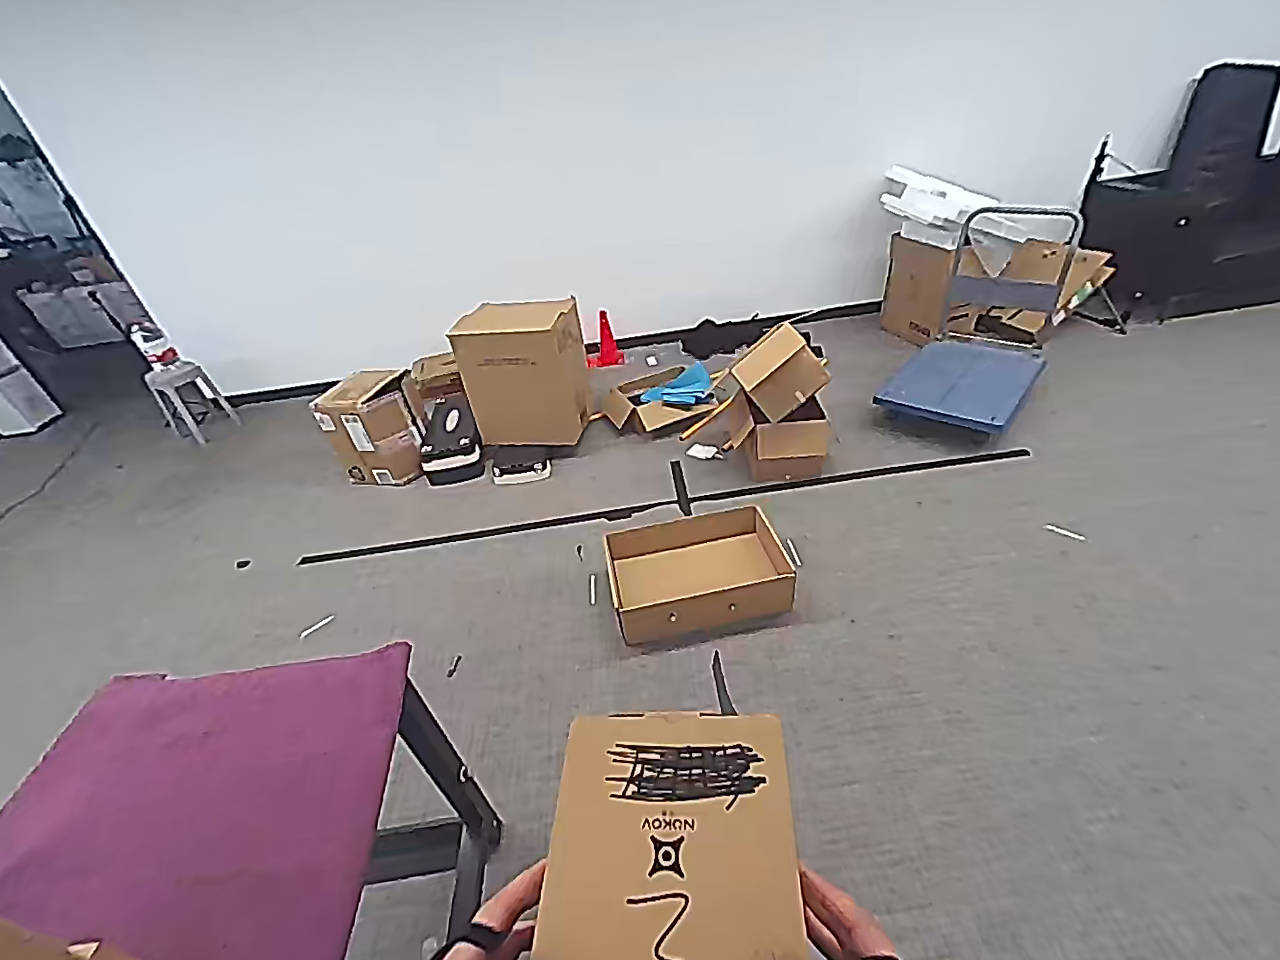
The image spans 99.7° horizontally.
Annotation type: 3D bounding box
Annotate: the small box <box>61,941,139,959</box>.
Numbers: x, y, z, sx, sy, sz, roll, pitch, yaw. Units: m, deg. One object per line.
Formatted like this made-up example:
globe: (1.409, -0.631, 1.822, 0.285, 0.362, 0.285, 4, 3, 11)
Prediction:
small box: (-0.614, 0.604, 0.539, 0.168, 0.176, 0.179, -8, 36, 0)
